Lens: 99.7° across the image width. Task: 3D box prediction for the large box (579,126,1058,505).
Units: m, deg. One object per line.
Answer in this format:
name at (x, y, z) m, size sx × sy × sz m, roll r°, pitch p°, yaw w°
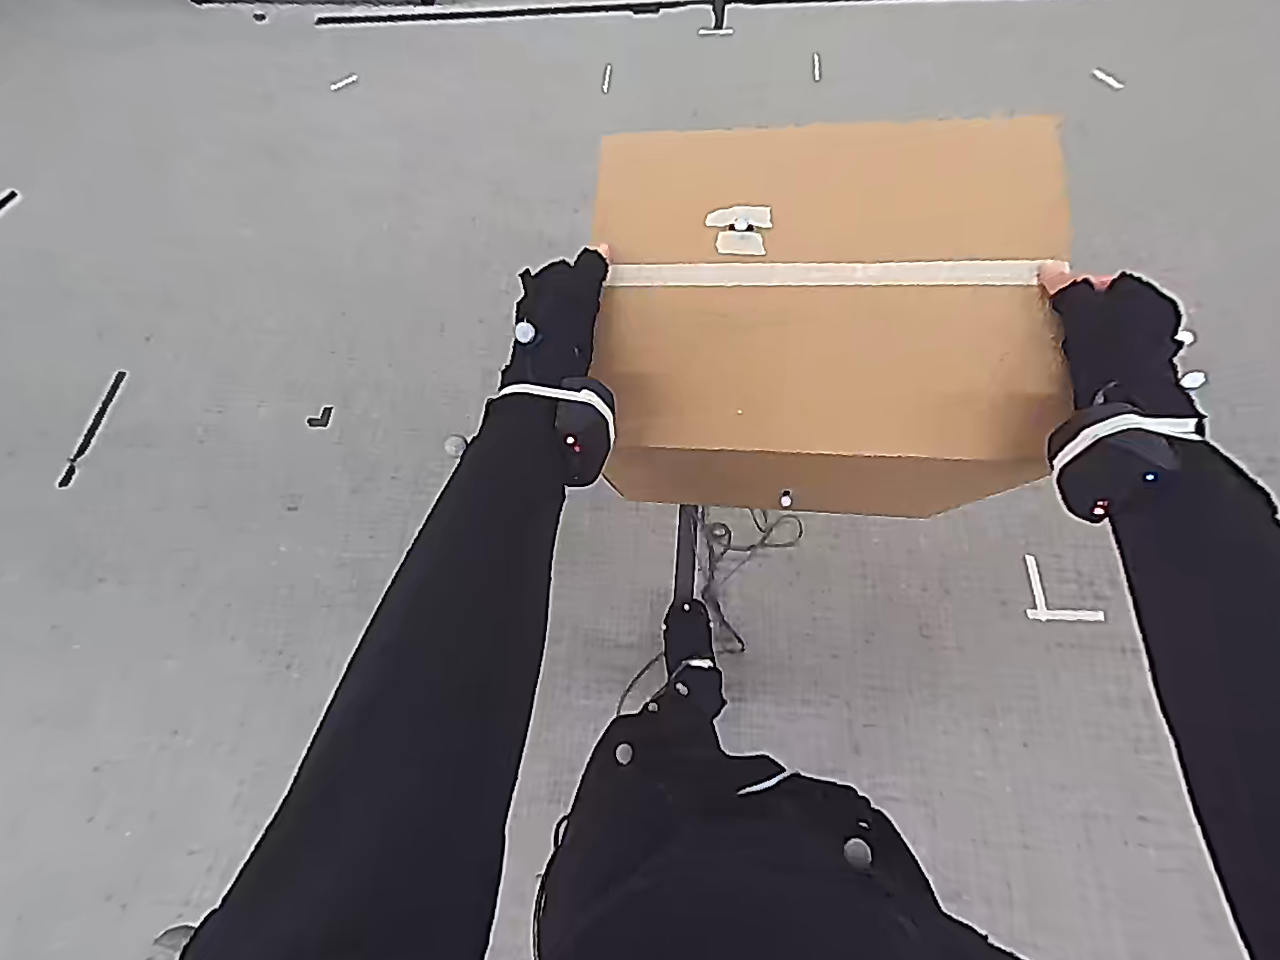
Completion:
large box at (0.173, -0.148, 0.634) m, size 0.408 × 0.320 × 0.320 m, roll 3°, pitch 78°, yaw 9°
